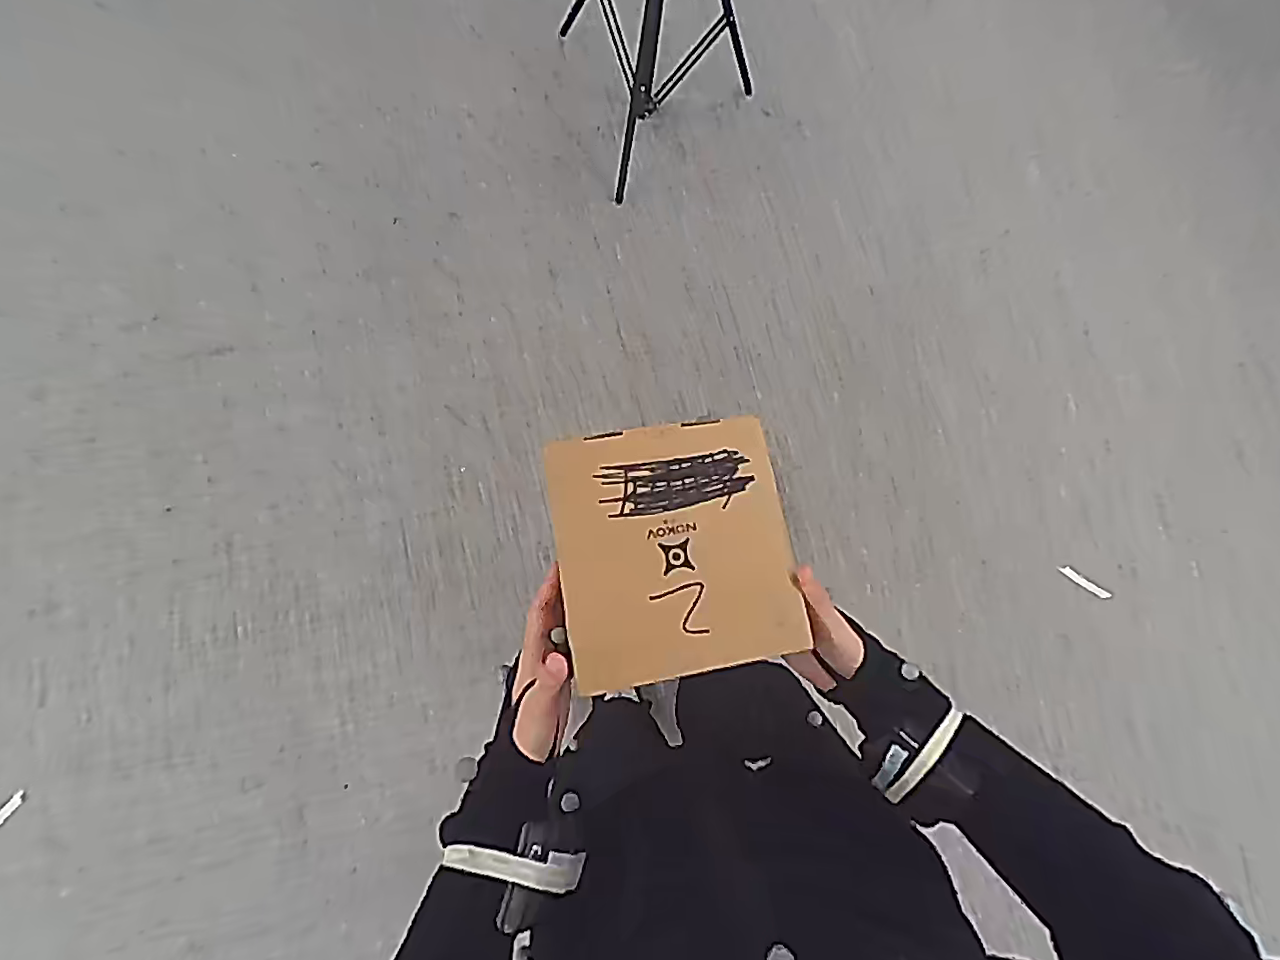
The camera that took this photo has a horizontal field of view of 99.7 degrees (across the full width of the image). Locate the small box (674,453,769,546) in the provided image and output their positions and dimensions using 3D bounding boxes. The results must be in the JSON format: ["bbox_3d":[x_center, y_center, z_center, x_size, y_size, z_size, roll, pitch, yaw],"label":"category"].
[{"bbox_3d":[0.192,0.053,1.333,0.168,0.176,0.179,-13,79,-9],"label":"small box"}]
